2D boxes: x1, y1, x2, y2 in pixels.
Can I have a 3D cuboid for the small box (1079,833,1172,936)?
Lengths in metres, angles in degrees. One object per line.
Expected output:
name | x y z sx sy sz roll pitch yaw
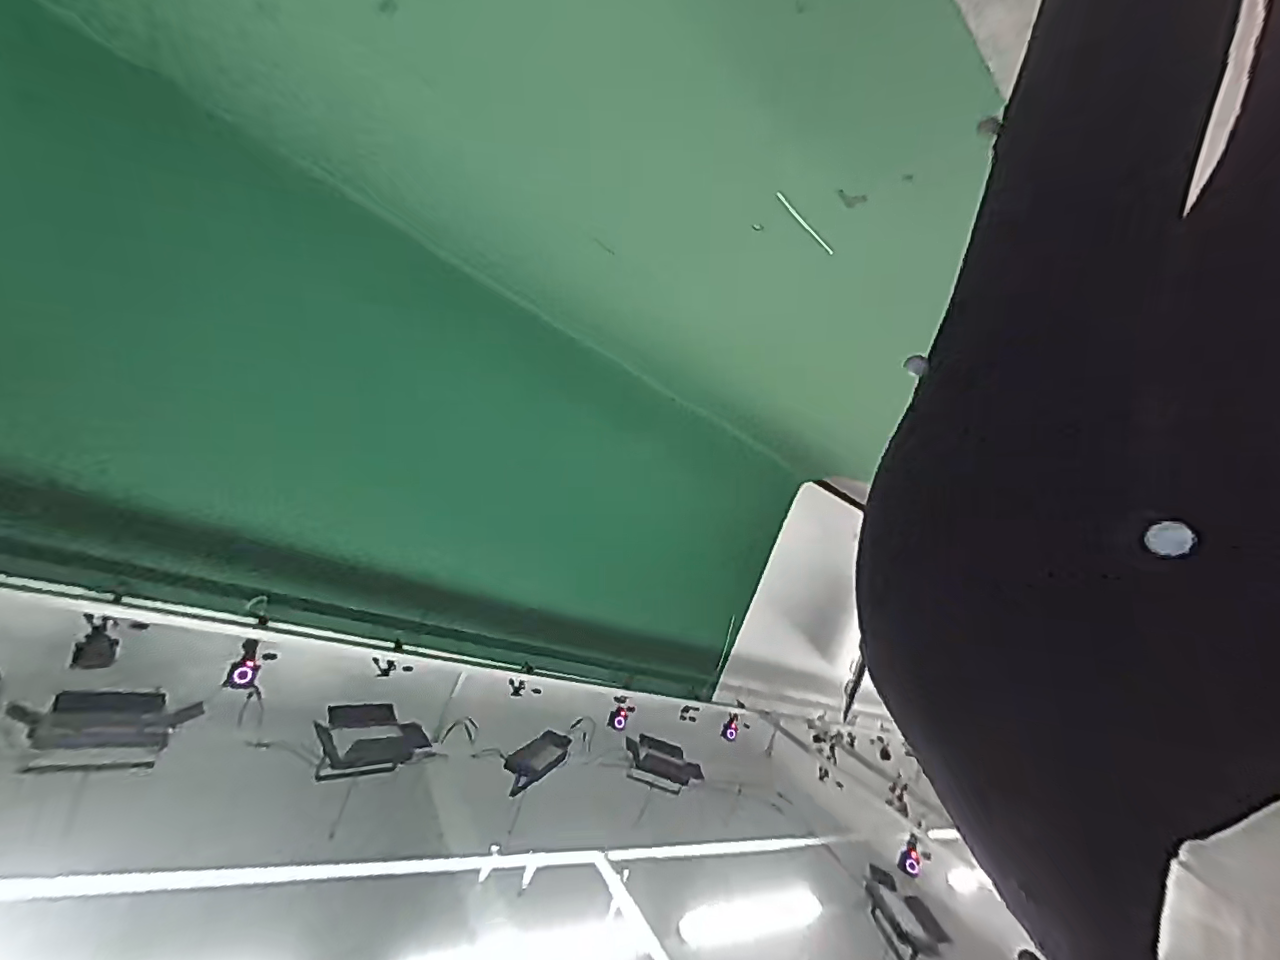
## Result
small box | 1.495 1.231 1.660 0.168 0.176 0.179 24 177 -39
